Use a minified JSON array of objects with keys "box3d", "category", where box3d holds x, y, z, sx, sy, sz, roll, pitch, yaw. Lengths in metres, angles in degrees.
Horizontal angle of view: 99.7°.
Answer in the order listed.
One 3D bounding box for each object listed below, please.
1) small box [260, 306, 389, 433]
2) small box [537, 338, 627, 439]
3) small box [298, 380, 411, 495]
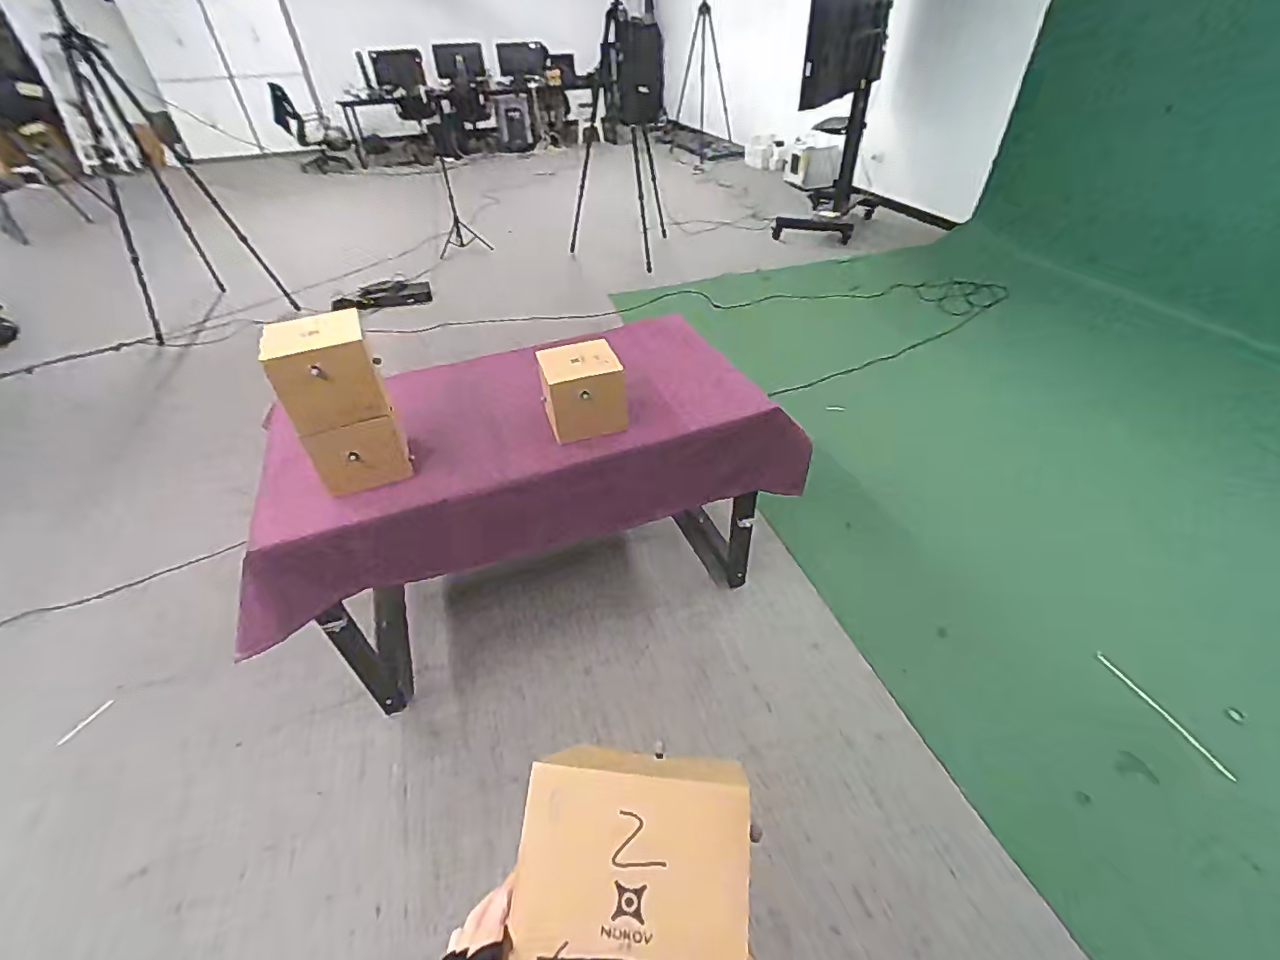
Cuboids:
[{"box3d":[-0.618,-0.221,1.079,0.179,0.176,0.168,-19,44,-17],"category":"small box"},{"box3d":[-0.137,-0.217,1.295,0.179,0.176,0.168,-13,43,-12],"category":"small box"},{"box3d":[-0.615,-0.096,1.183,0.179,0.176,0.168,-19,43,-16],"category":"small box"}]
